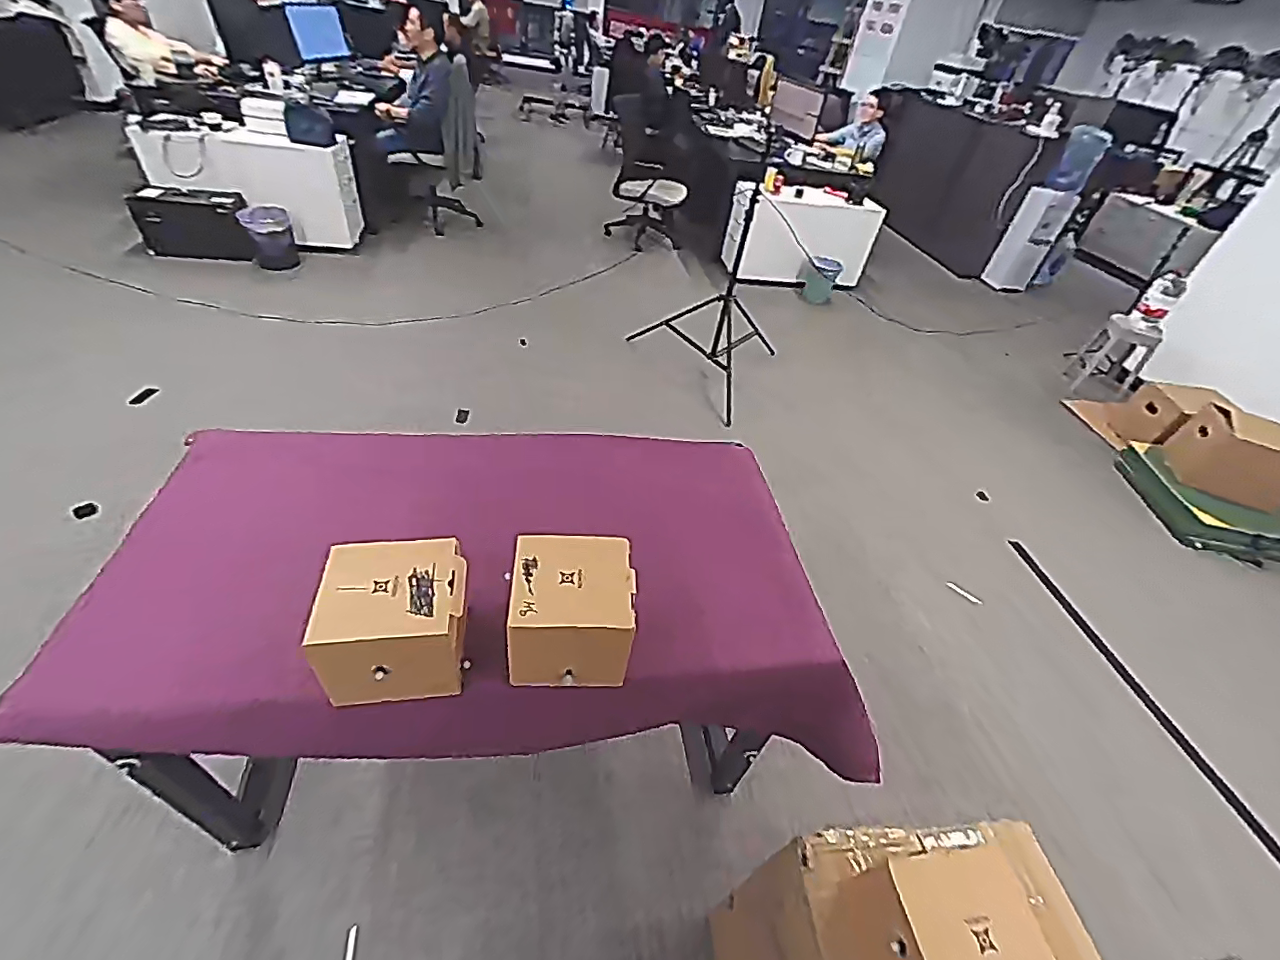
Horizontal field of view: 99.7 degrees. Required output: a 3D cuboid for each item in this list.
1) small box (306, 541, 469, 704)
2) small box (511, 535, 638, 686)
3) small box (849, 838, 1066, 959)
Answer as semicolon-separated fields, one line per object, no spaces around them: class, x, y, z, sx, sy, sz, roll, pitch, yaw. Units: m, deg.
small box;-0.351;0.208;0.796;0.179;0.176;0.168;-2;42;-11
small box;-0.105;0.207;0.848;0.179;0.176;0.168;4;41;-8
small box;0.393;0.584;0.683;0.168;0.176;0.179;-2;44;-9
